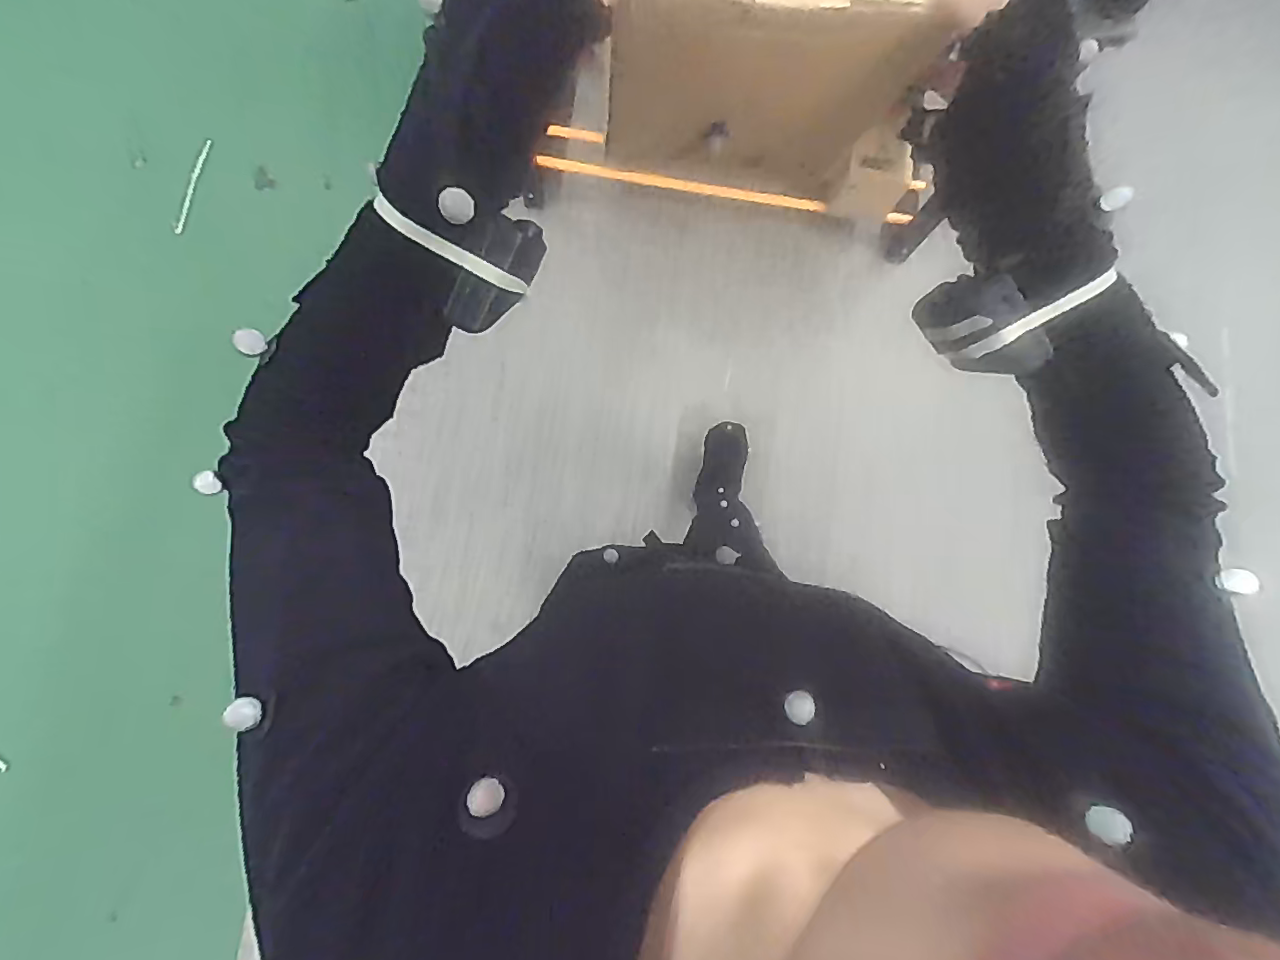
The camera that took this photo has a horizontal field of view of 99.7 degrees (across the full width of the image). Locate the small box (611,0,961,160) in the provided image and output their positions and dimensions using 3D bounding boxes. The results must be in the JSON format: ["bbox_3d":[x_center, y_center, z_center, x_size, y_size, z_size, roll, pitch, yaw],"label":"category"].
[{"bbox_3d":[0.070,-0.322,0.312,0.168,0.176,0.179,0,95,-6],"label":"small box"}]
